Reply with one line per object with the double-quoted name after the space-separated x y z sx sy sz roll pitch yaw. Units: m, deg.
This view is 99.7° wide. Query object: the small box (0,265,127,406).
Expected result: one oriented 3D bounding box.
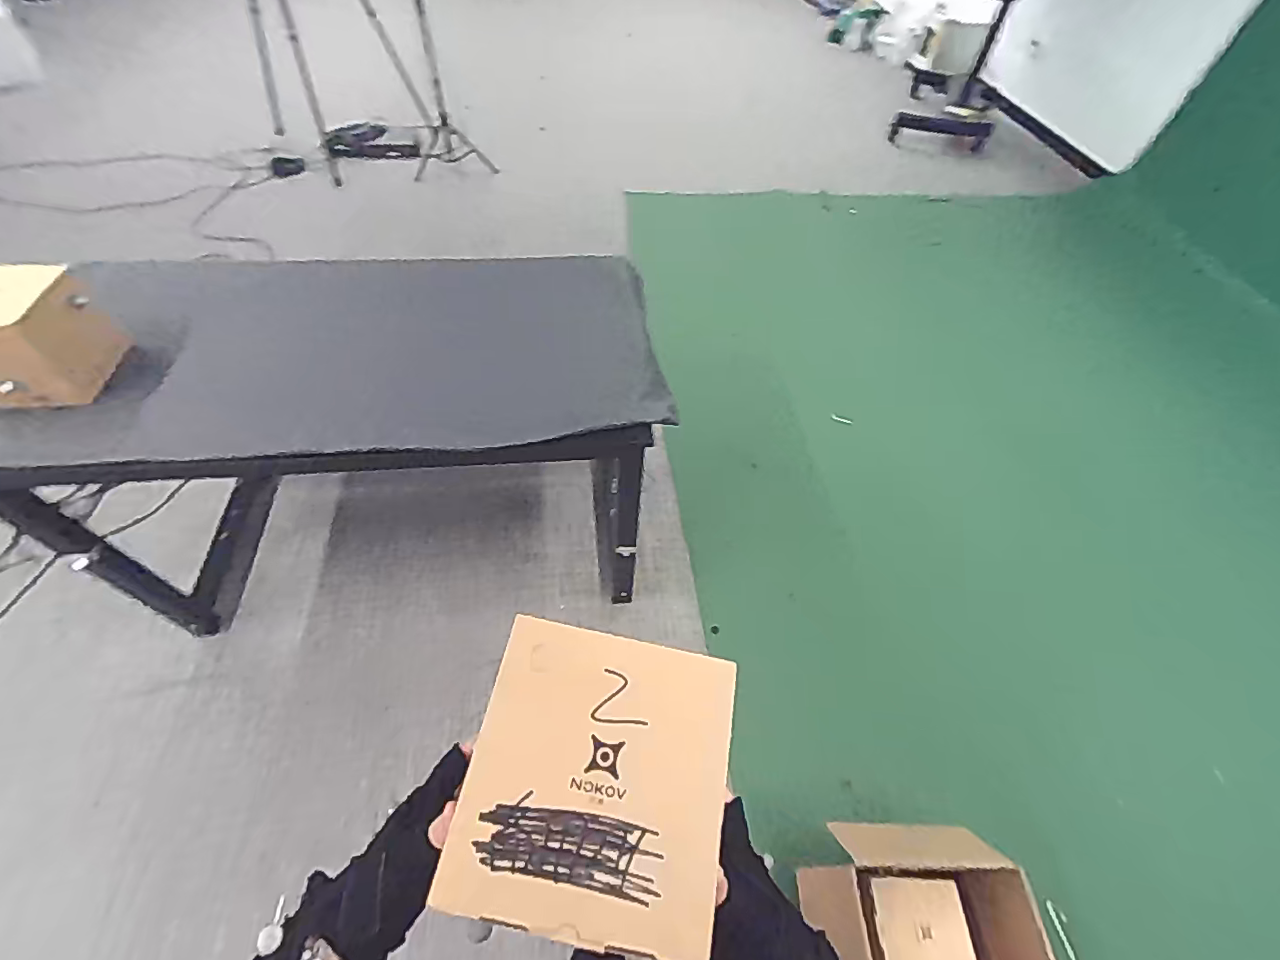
-1.043 -0.246 0.924 0.168 0.176 0.179 -4 52 -9 "small box"
